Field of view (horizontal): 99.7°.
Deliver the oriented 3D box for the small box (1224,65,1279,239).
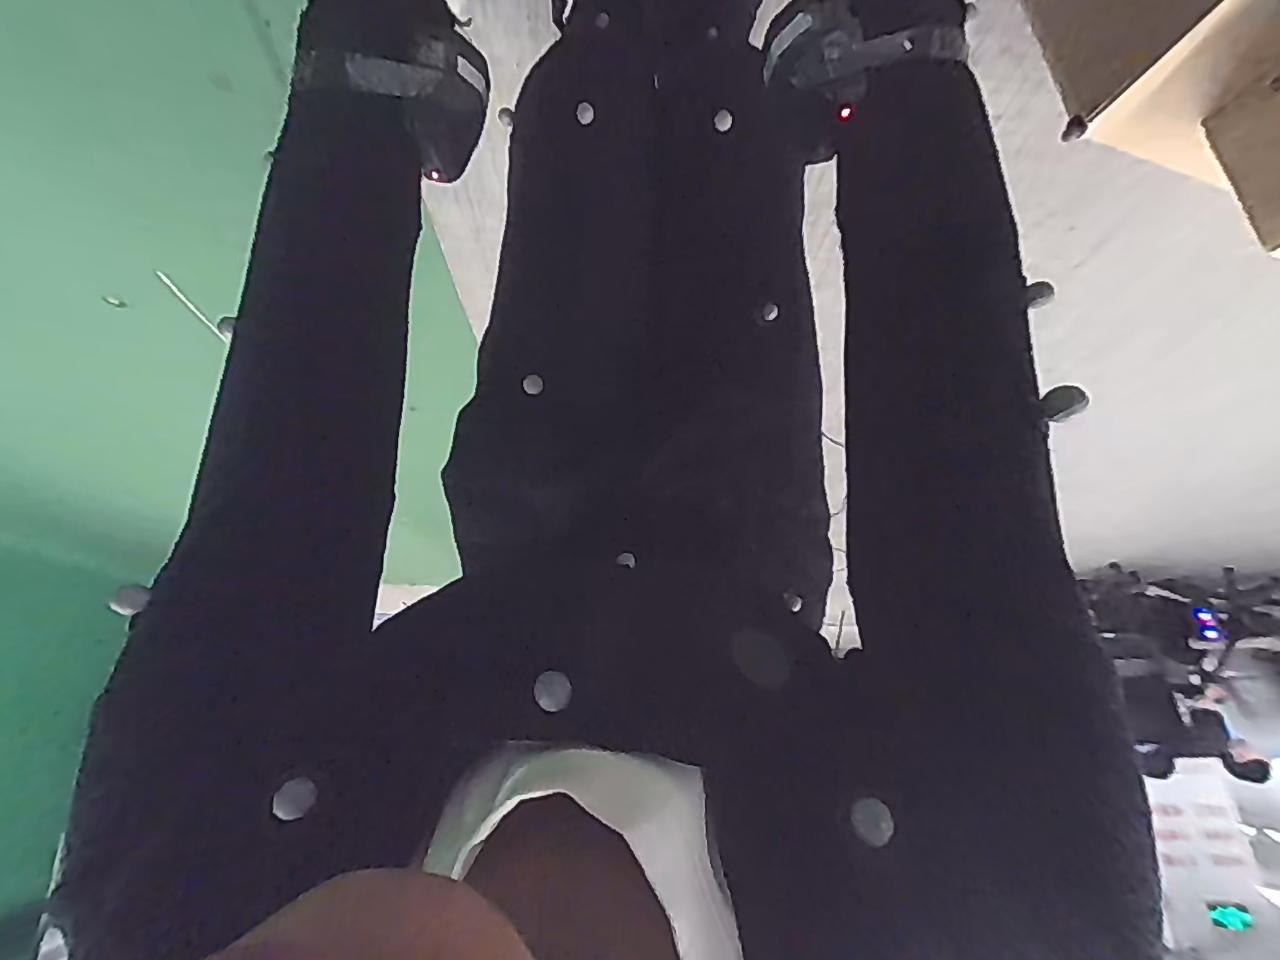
[{"bbox_3d":[0.674,-0.313,0.458,0.179,0.176,0.168,5,159,-9],"label":"small box"}]
